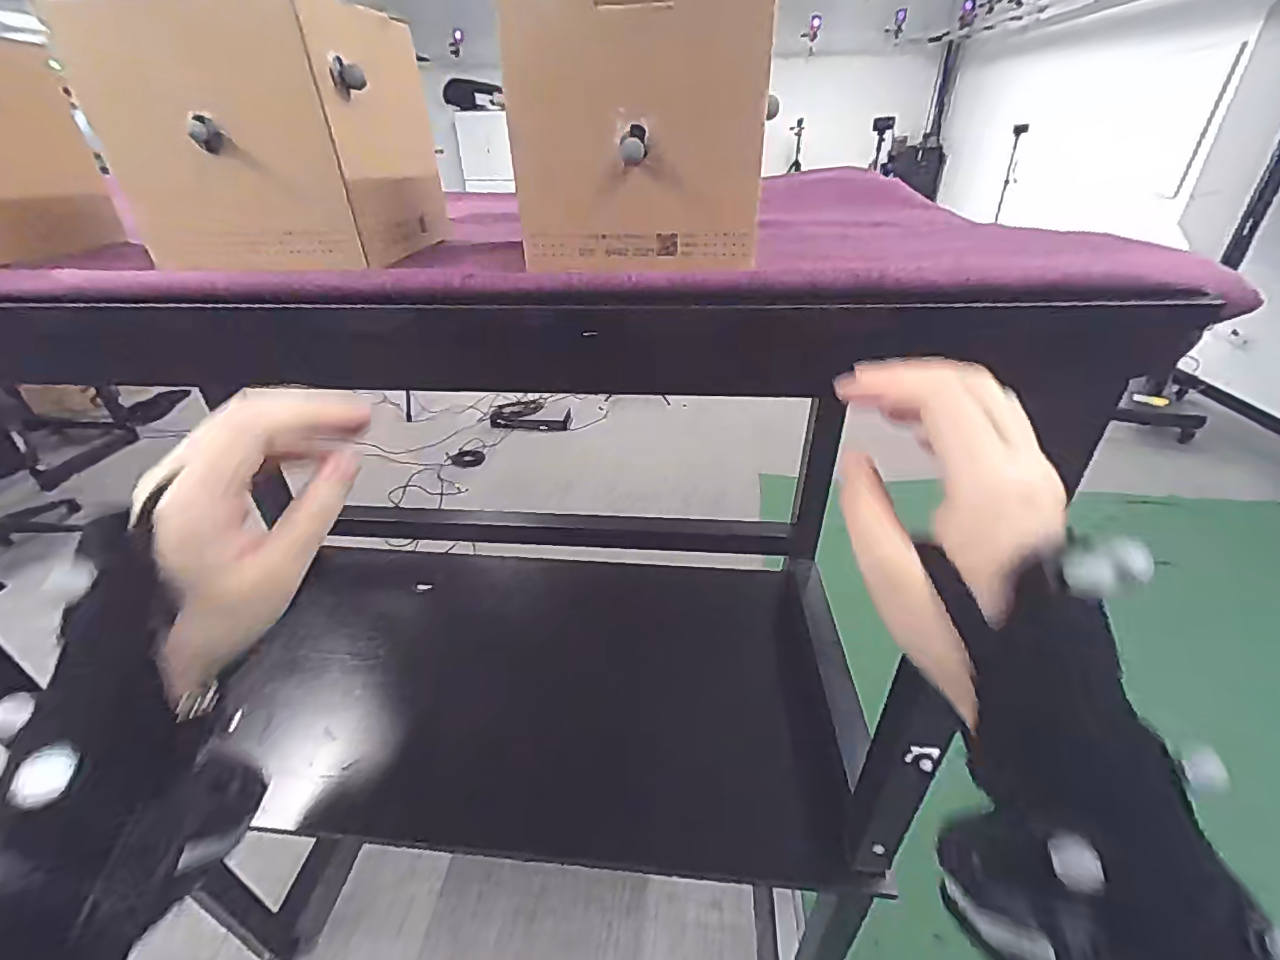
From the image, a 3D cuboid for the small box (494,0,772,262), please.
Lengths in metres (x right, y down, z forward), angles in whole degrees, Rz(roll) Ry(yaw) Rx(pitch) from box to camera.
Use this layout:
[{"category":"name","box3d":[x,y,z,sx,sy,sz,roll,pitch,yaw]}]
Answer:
[{"category":"small box","box3d":[0.008,-0.270,0.411,0.168,0.176,0.179,2,34,6]}]

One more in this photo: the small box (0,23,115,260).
[{"category":"small box","box3d":[-0.607,-0.283,0.452,0.168,0.176,0.179,1,32,2]}]
